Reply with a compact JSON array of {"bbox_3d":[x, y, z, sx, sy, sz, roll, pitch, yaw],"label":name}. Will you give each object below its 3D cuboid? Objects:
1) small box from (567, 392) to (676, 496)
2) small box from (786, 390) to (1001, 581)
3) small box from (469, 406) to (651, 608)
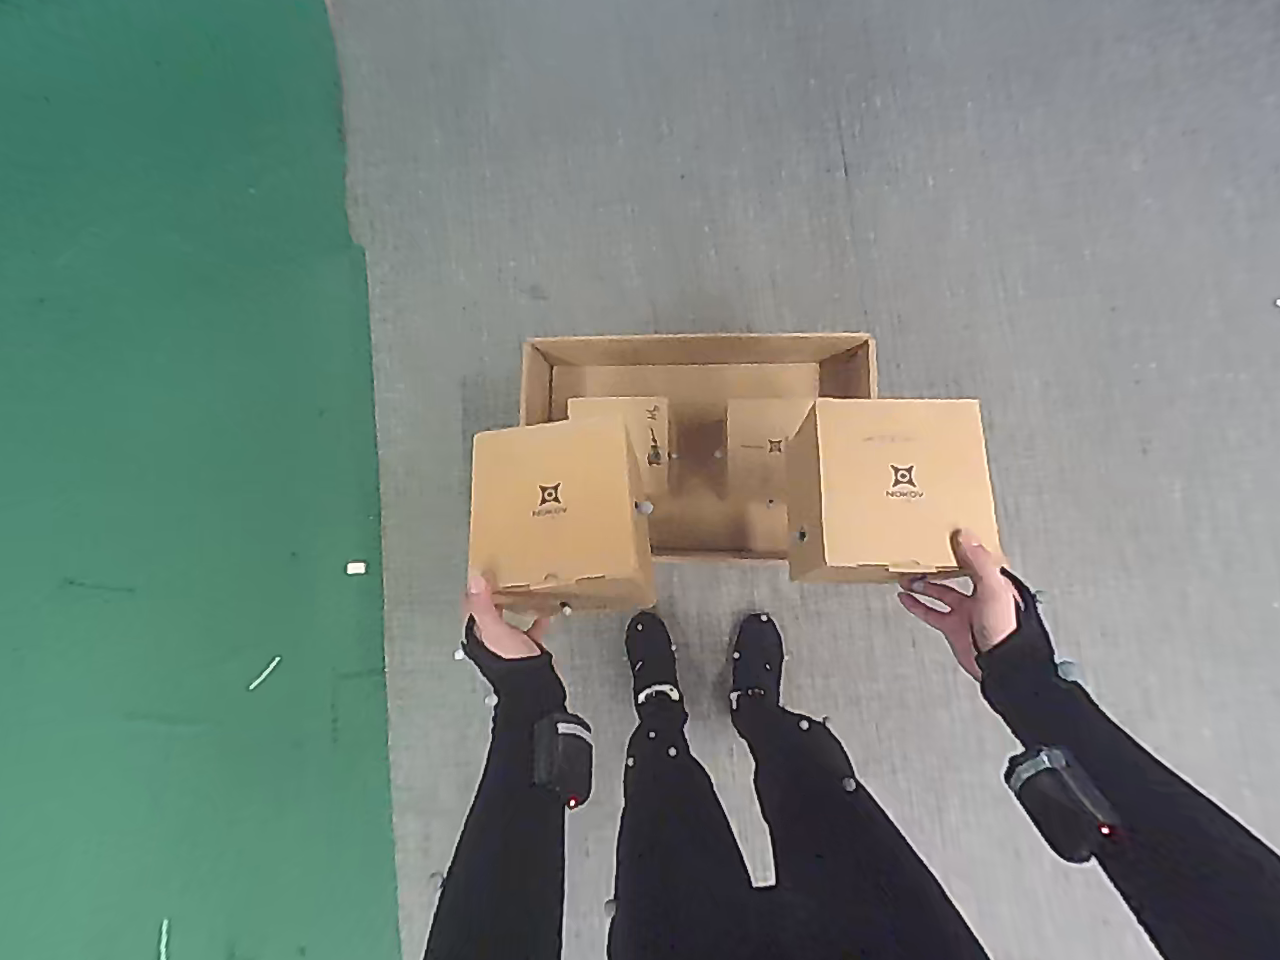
[{"bbox_3d":[-0.029,-0.058,0.979,0.179,0.176,0.168,1,84,7],"label":"small box"},{"bbox_3d":[0.262,0.016,0.601,0.168,0.176,0.179,2,73,4],"label":"small box"},{"bbox_3d":[-0.079,0.039,0.612,0.168,0.176,0.179,-7,68,4],"label":"small box"}]
